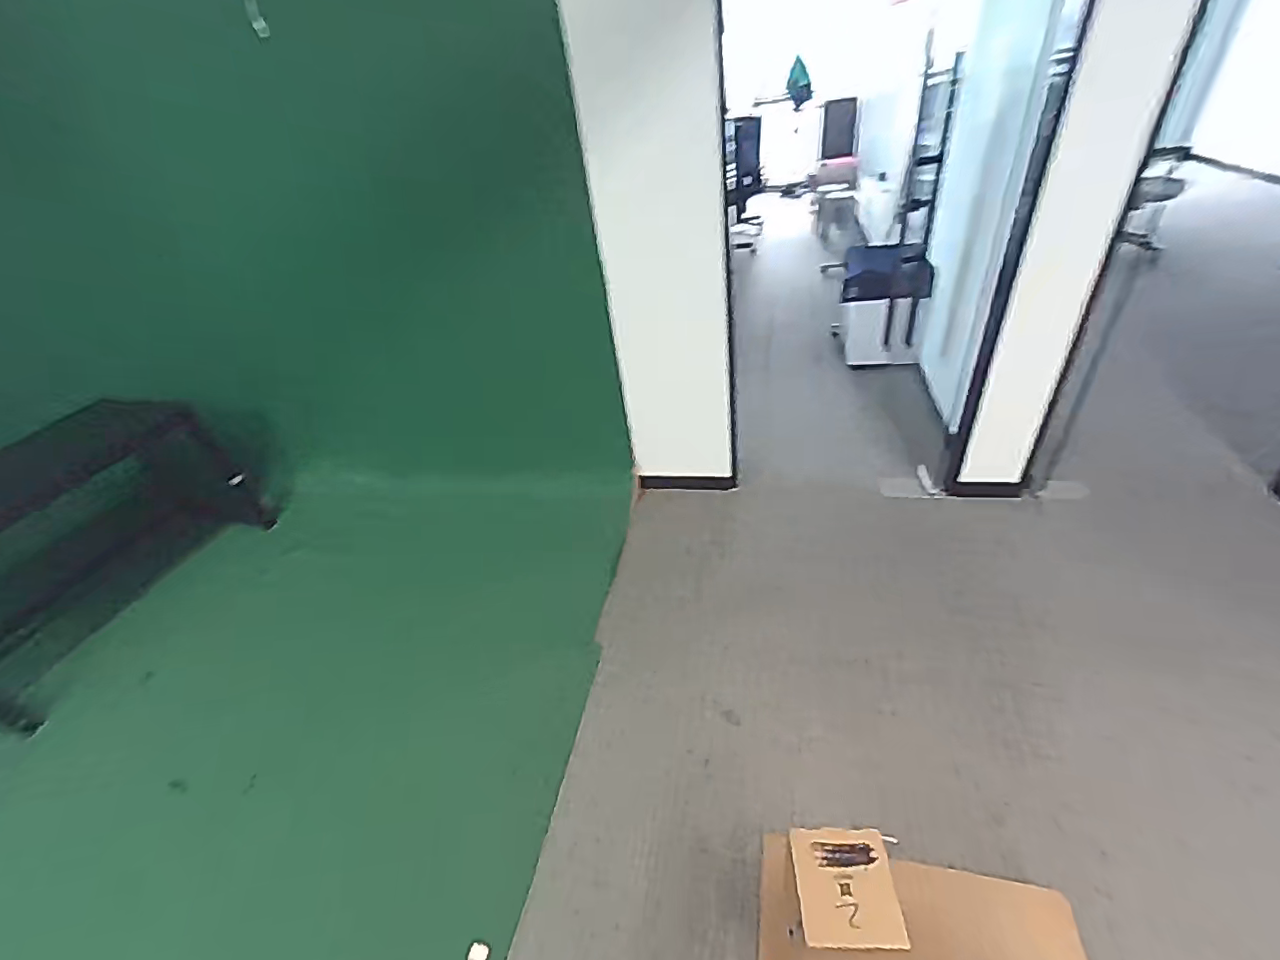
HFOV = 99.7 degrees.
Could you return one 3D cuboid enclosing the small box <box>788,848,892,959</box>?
[{"bbox_3d":[0.393,0.879,1.089,0.168,0.176,0.179,-1,37,9],"label":"small box"}]
